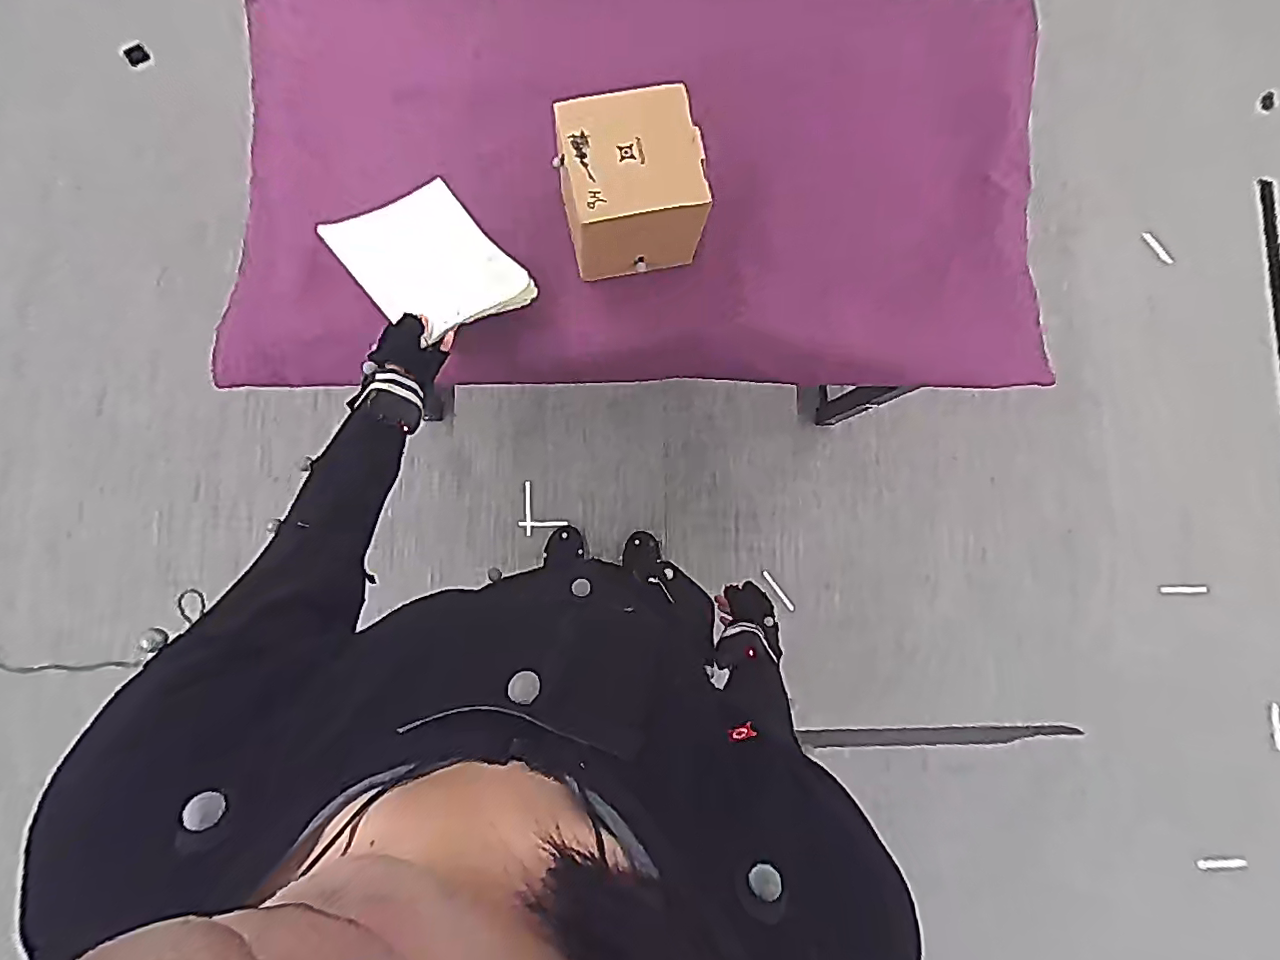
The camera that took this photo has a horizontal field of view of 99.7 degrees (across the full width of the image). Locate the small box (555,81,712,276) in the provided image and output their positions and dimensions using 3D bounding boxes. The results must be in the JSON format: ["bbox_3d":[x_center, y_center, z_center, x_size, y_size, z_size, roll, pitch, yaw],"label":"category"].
[{"bbox_3d":[-0.016,-0.412,0.761,0.179,0.176,0.168,-12,85,-6],"label":"small box"}]
